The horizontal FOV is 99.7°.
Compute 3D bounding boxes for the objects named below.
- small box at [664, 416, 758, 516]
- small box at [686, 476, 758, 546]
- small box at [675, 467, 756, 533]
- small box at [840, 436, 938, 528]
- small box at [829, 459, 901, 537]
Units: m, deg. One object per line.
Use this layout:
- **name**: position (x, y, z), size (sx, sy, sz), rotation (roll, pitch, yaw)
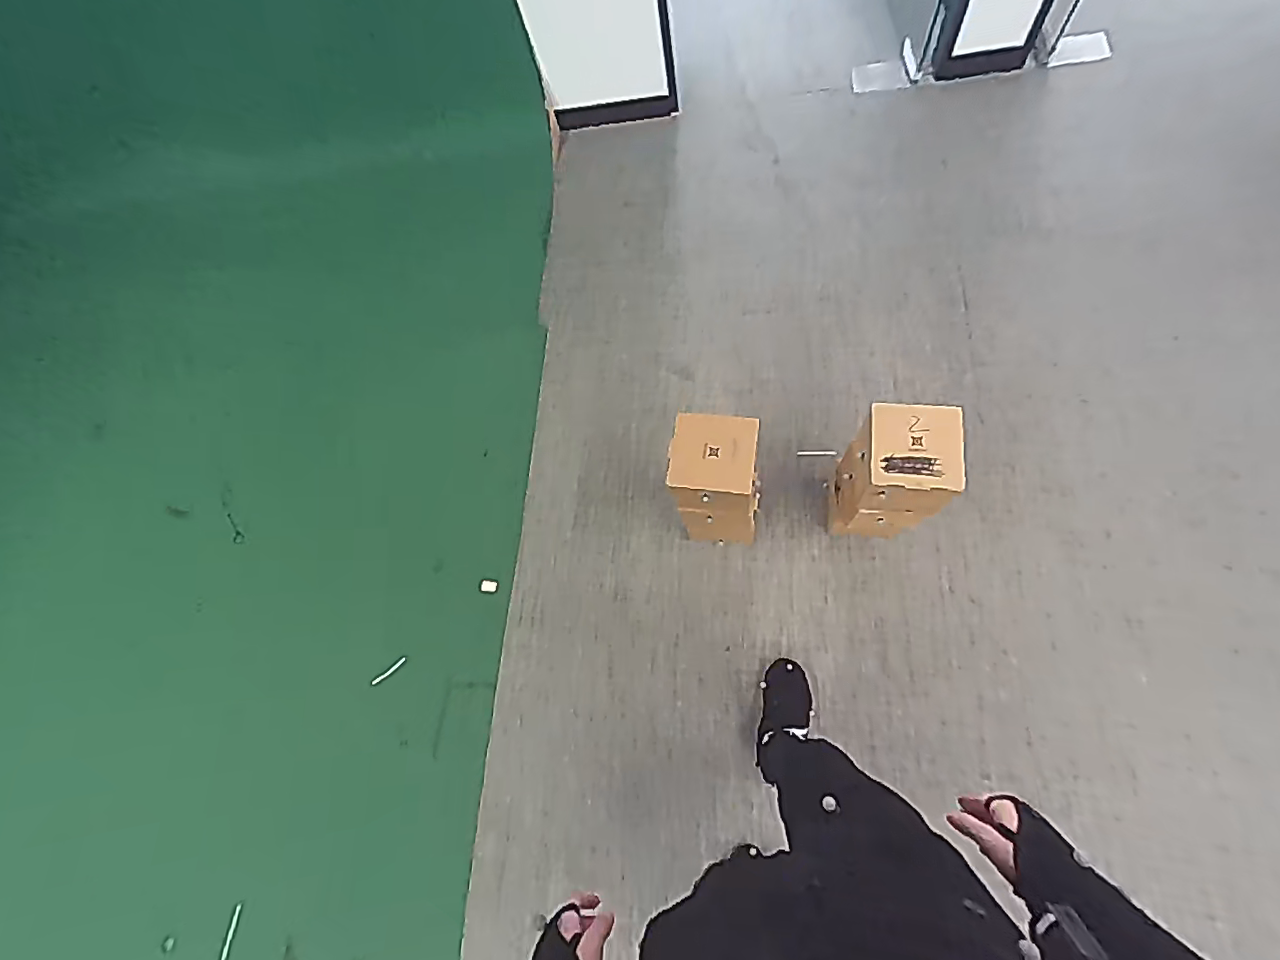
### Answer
- **small box**: position (0.159, -0.026, 1.177), size (0.179, 0.176, 0.168), rotation (6, 73, 12)
- **small box**: position (0.227, 0.082, 1.478), size (0.179, 0.176, 0.168), rotation (3, 72, 11)
- **small box**: position (0.190, 0.028, 1.327), size (0.179, 0.176, 0.168), rotation (4, 72, 12)
- **small box**: position (0.570, 0.013, 1.260), size (0.168, 0.176, 0.179), rotation (-2, 71, 10)
- **small box**: position (0.594, 0.051, 1.417), size (0.179, 0.176, 0.168), rotation (2, 72, 11)
